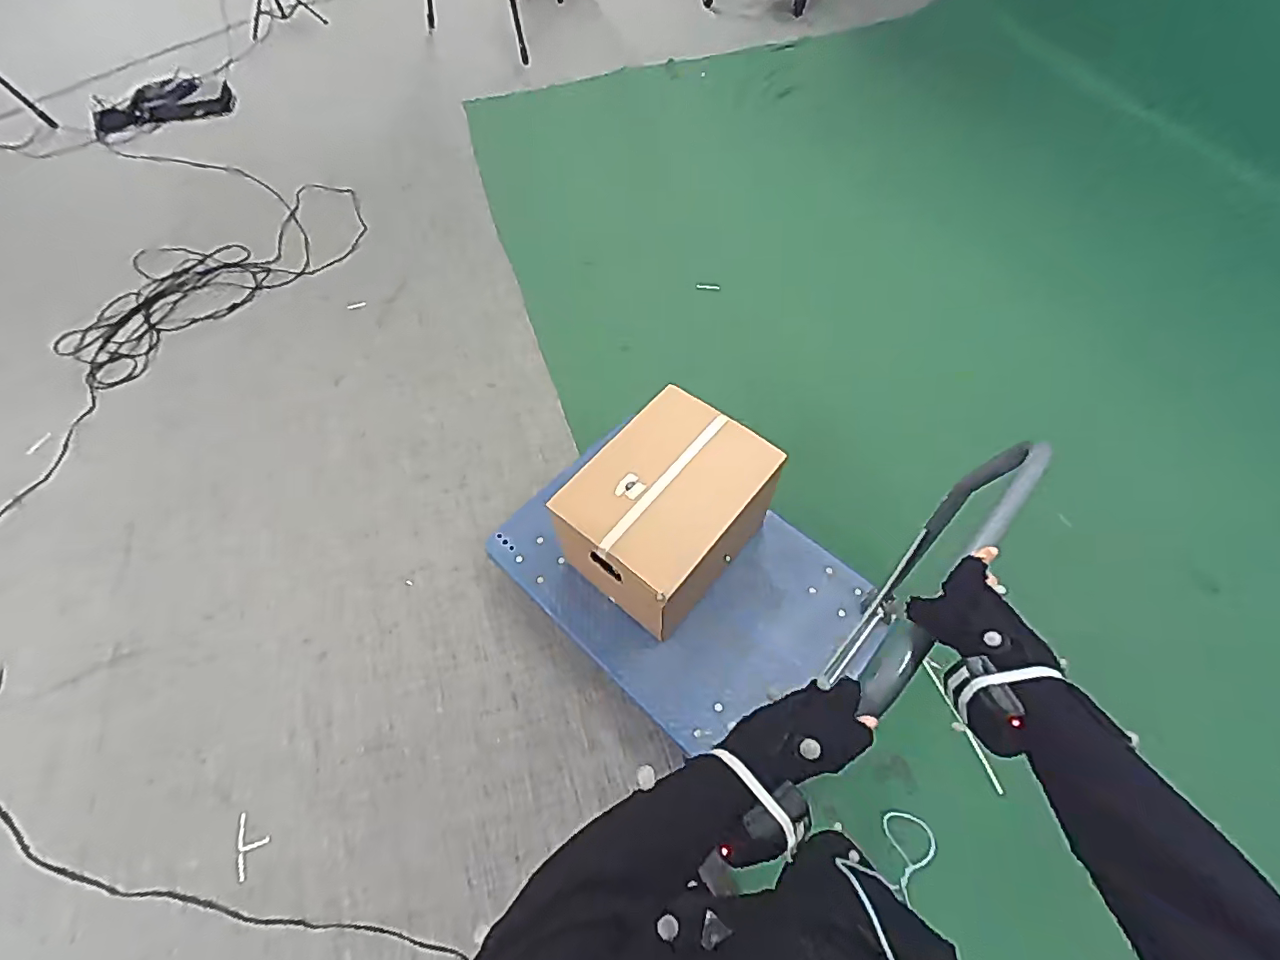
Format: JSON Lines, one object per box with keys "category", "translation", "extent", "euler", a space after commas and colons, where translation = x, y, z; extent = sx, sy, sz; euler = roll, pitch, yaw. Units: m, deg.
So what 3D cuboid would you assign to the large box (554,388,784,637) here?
{"category": "large box", "translation": [0.070, 0.077, 1.237], "extent": [0.320, 0.320, 0.408], "euler": [35, 67, 21]}
